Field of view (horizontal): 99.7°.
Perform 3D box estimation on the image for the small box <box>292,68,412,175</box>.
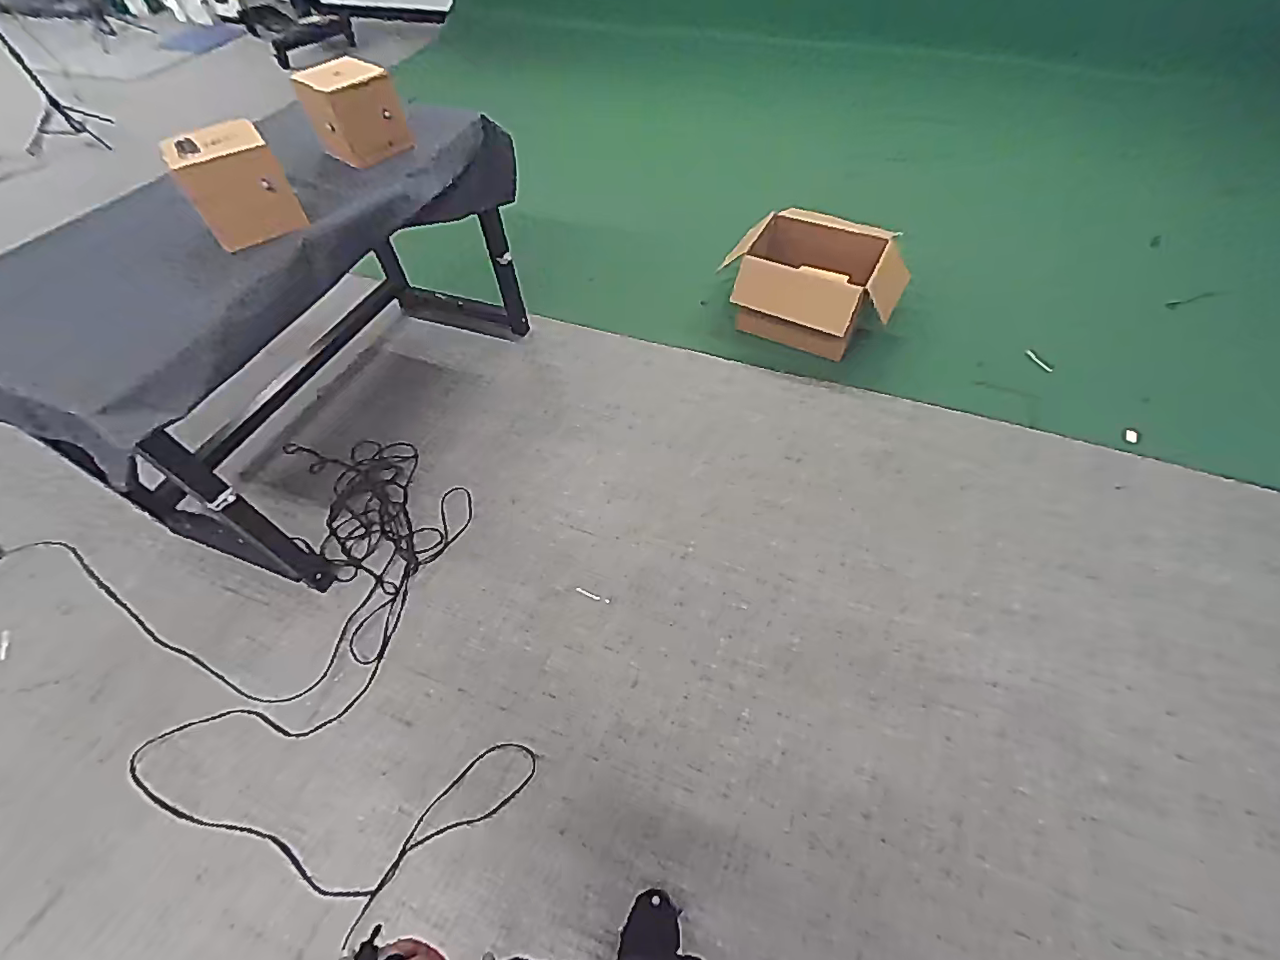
[{"bbox_3d":[-0.705,-0.887,1.344,0.179,0.176,0.168,32,60,25],"label":"small box"}]
